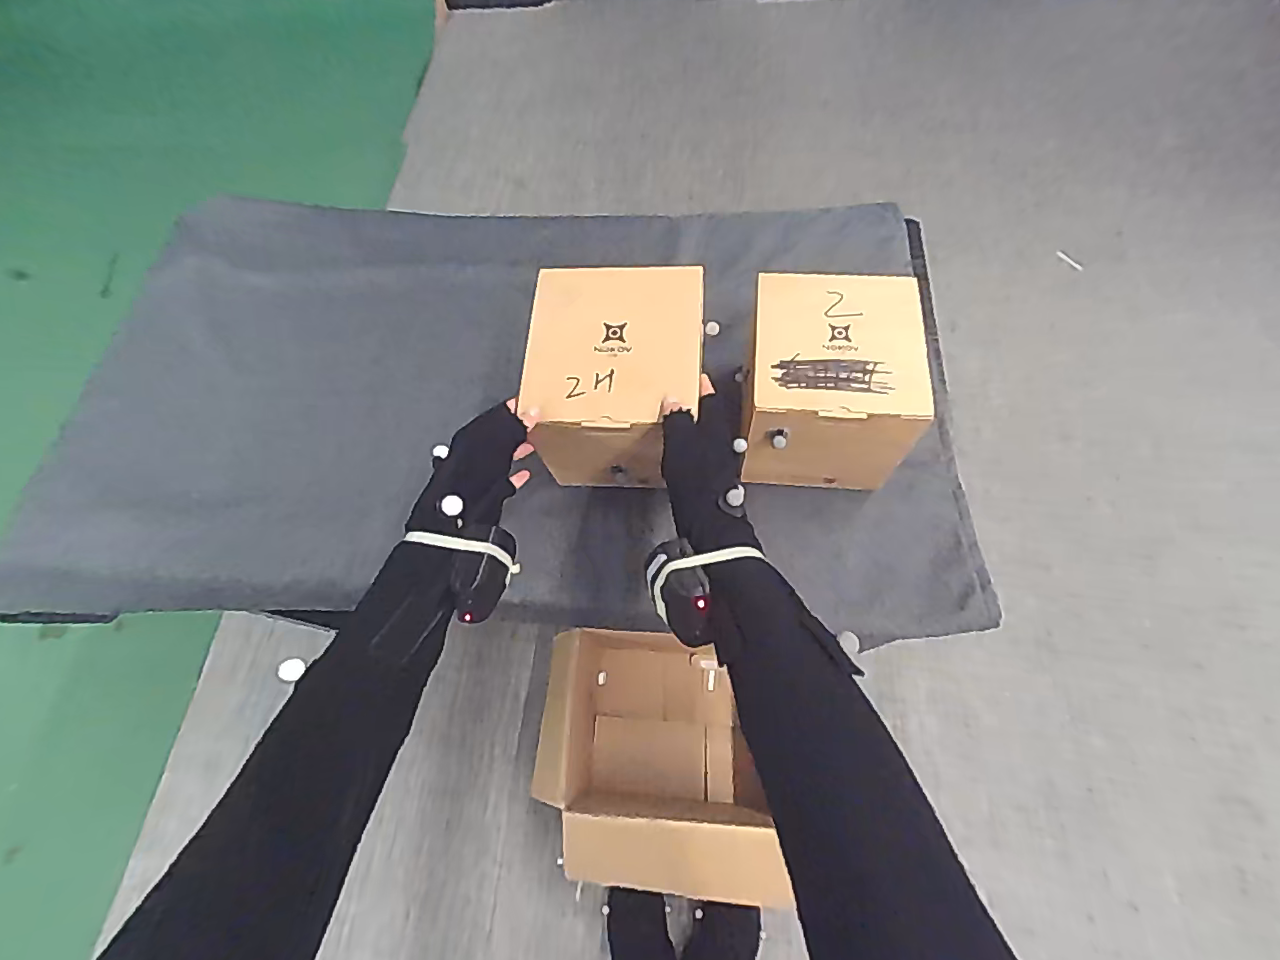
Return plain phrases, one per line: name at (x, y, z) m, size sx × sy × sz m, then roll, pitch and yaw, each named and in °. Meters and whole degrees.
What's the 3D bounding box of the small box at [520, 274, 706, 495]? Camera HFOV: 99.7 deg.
small box at (-0.015, -0.096, 0.585) m, size 0.168 × 0.176 × 0.179 m, roll 1°, pitch 69°, yaw 7°
